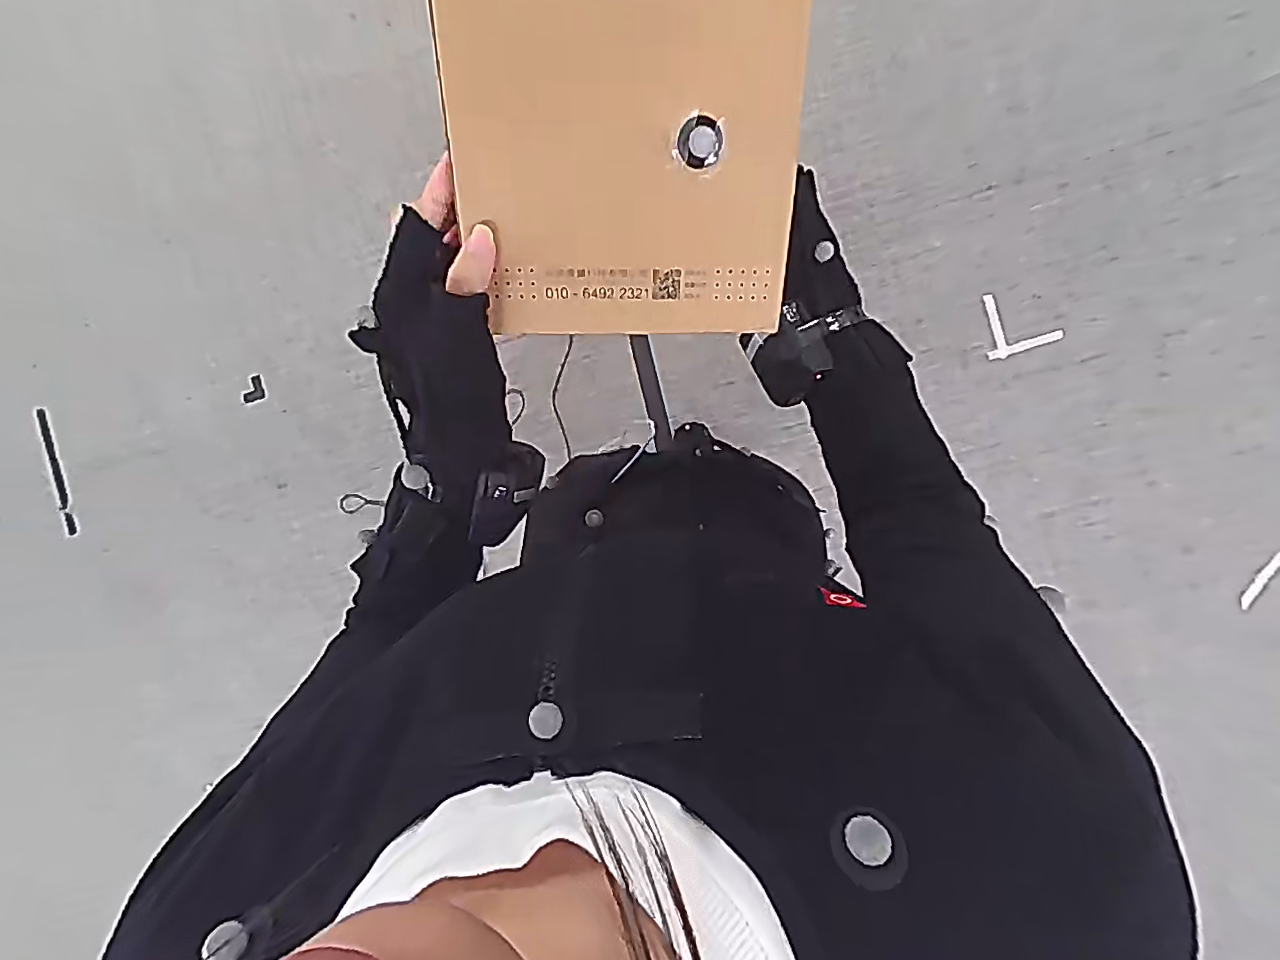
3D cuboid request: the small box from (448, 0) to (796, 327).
[{"bbox_3d":[-0.006,-0.198,0.349,0.168,0.179,0.176,1,116,-1],"label":"small box"}]
